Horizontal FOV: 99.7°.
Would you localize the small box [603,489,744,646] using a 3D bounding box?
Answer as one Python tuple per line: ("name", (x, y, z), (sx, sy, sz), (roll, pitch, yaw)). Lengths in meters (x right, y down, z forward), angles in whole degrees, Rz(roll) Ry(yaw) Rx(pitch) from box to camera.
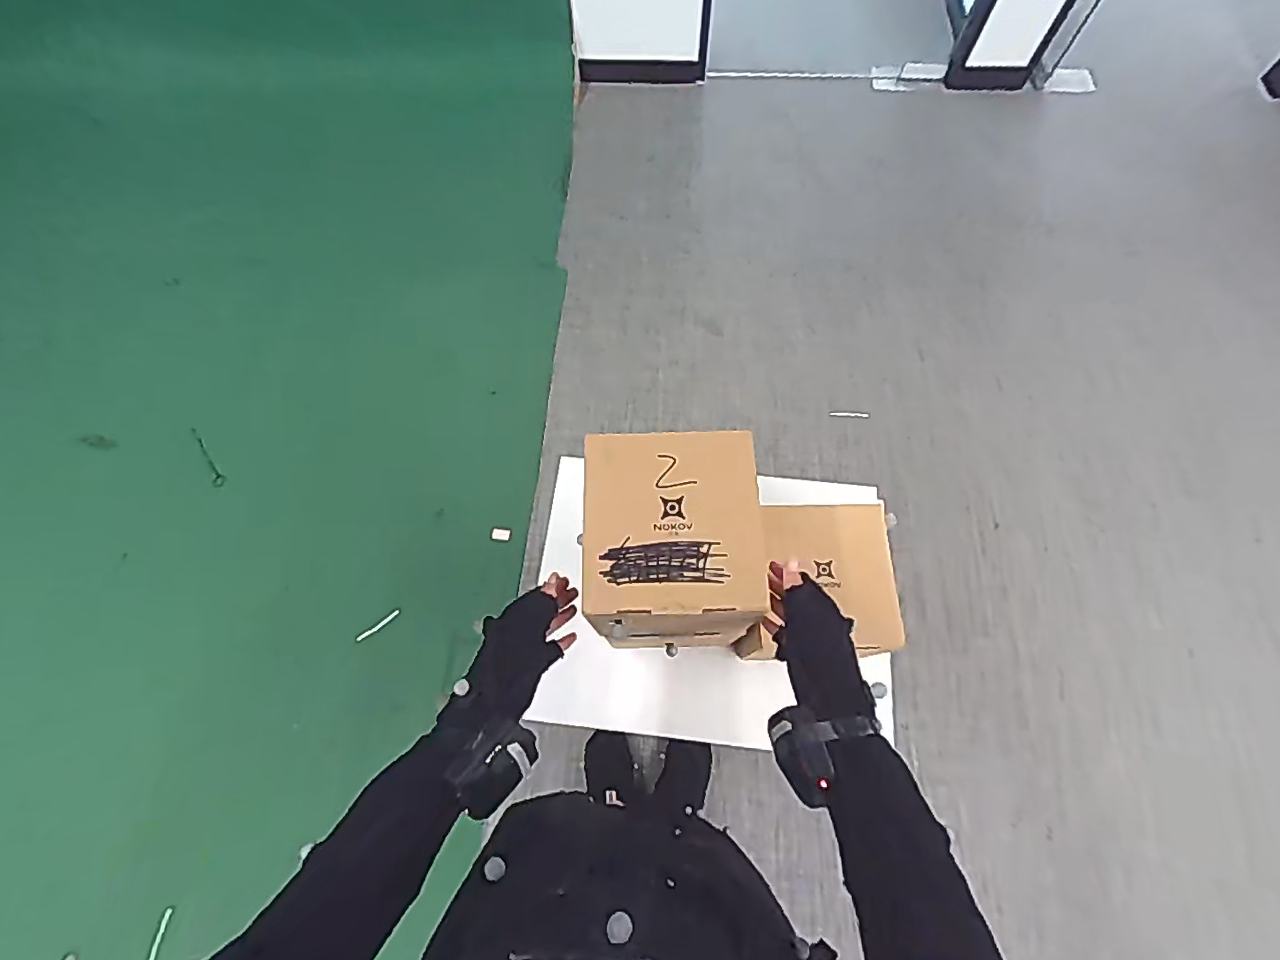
("small box", (0.039, 0.124, 0.725), (0.168, 0.176, 0.179), (-2, 68, 1))
